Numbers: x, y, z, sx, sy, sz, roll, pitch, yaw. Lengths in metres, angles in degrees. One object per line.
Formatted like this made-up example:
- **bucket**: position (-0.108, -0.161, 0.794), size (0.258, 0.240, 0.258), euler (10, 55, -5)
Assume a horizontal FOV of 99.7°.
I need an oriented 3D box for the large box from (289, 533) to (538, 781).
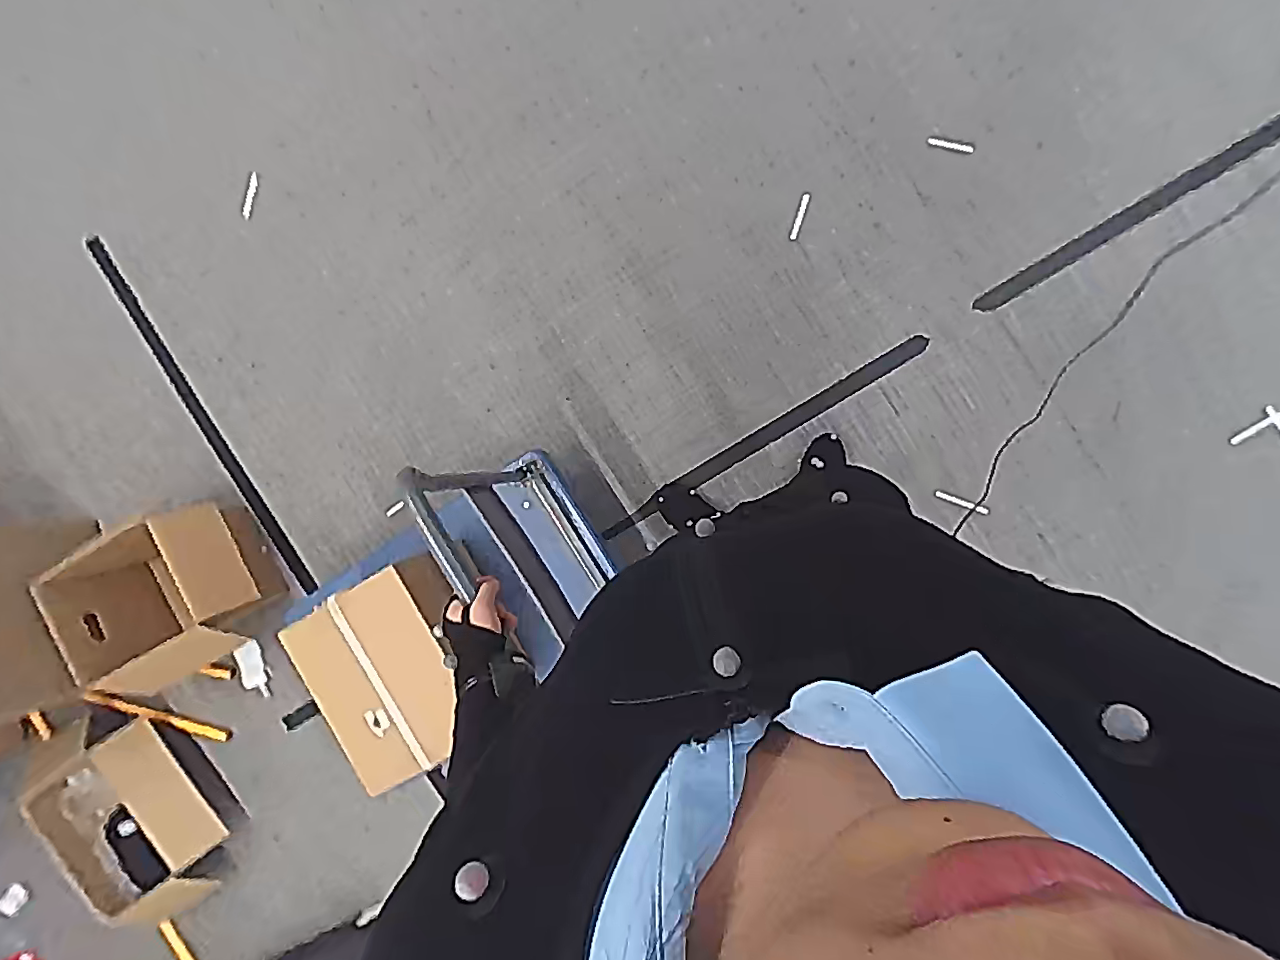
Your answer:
- **large box**: position (-0.506, 0.390, 1.282), size (0.320, 0.320, 0.408), euler (-31, 91, 9)
